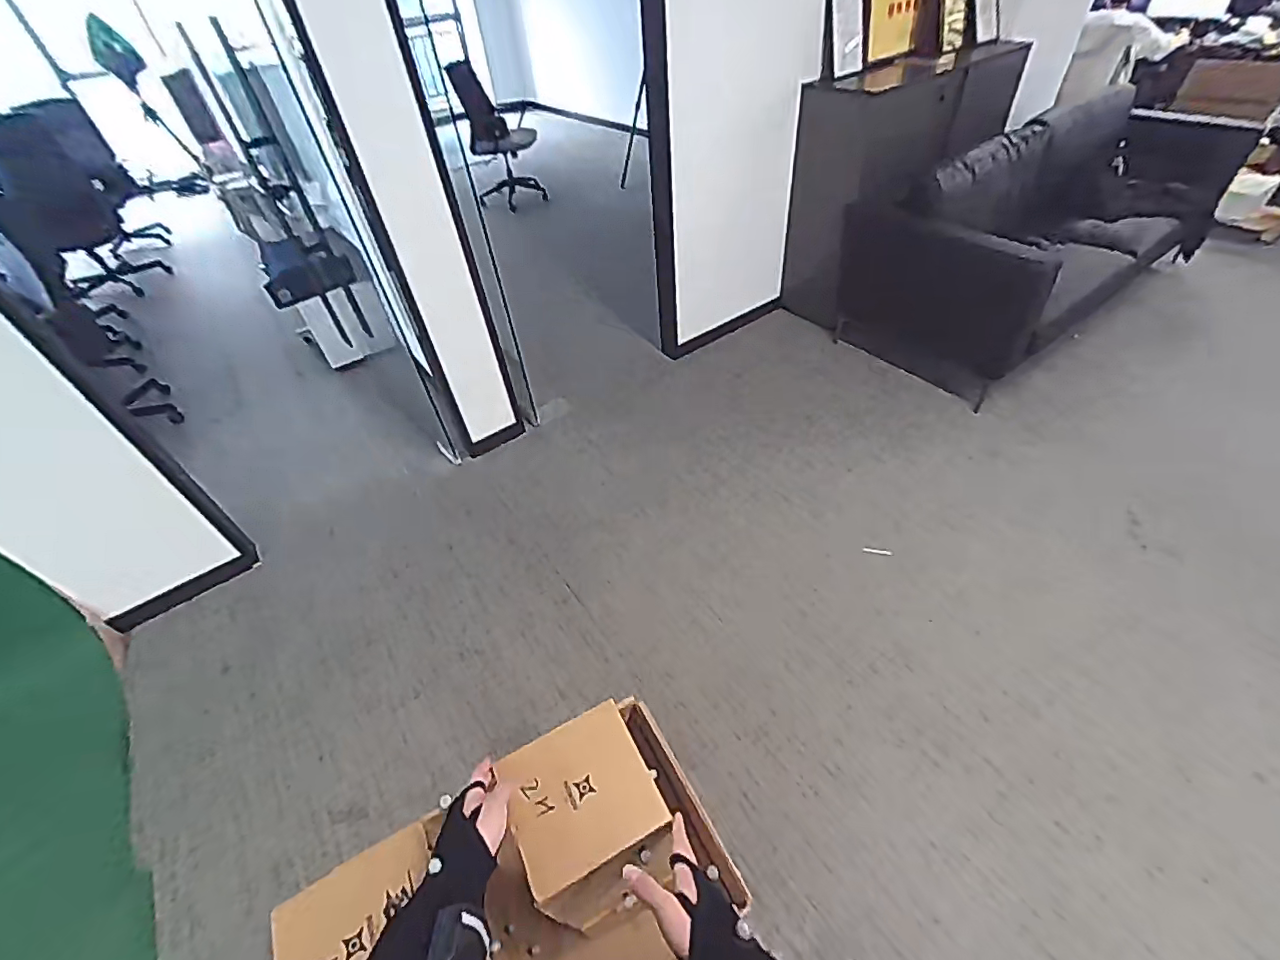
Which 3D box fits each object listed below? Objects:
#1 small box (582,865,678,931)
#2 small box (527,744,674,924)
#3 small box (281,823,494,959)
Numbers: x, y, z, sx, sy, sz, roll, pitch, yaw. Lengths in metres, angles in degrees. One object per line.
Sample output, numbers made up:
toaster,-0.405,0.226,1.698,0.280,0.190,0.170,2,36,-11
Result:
small box,-0.040,0.668,0.967,0.168,0.176,0.179,-21,47,-13
small box,-0.057,0.556,0.851,0.179,0.176,0.168,-22,47,-13
small box,-0.290,0.559,0.649,0.179,0.176,0.168,-25,48,-16
